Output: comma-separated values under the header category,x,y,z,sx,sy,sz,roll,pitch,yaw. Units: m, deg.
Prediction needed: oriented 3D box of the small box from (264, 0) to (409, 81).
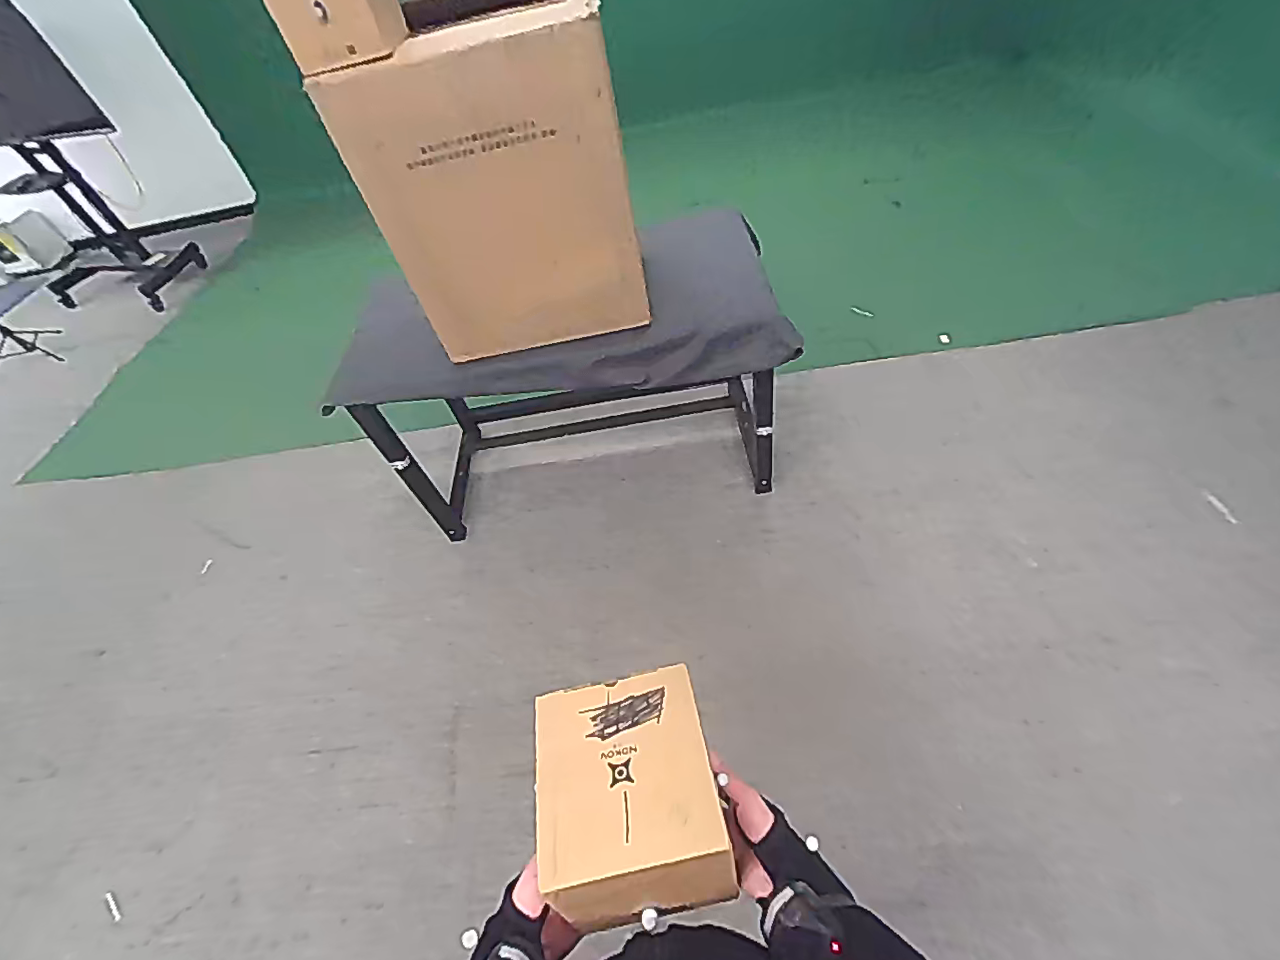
category,x,y,z,sx,sy,sz,roll,pitch,yaw
small box,-0.537,-0.838,0.960,0.168,0.176,0.179,-10,49,5
